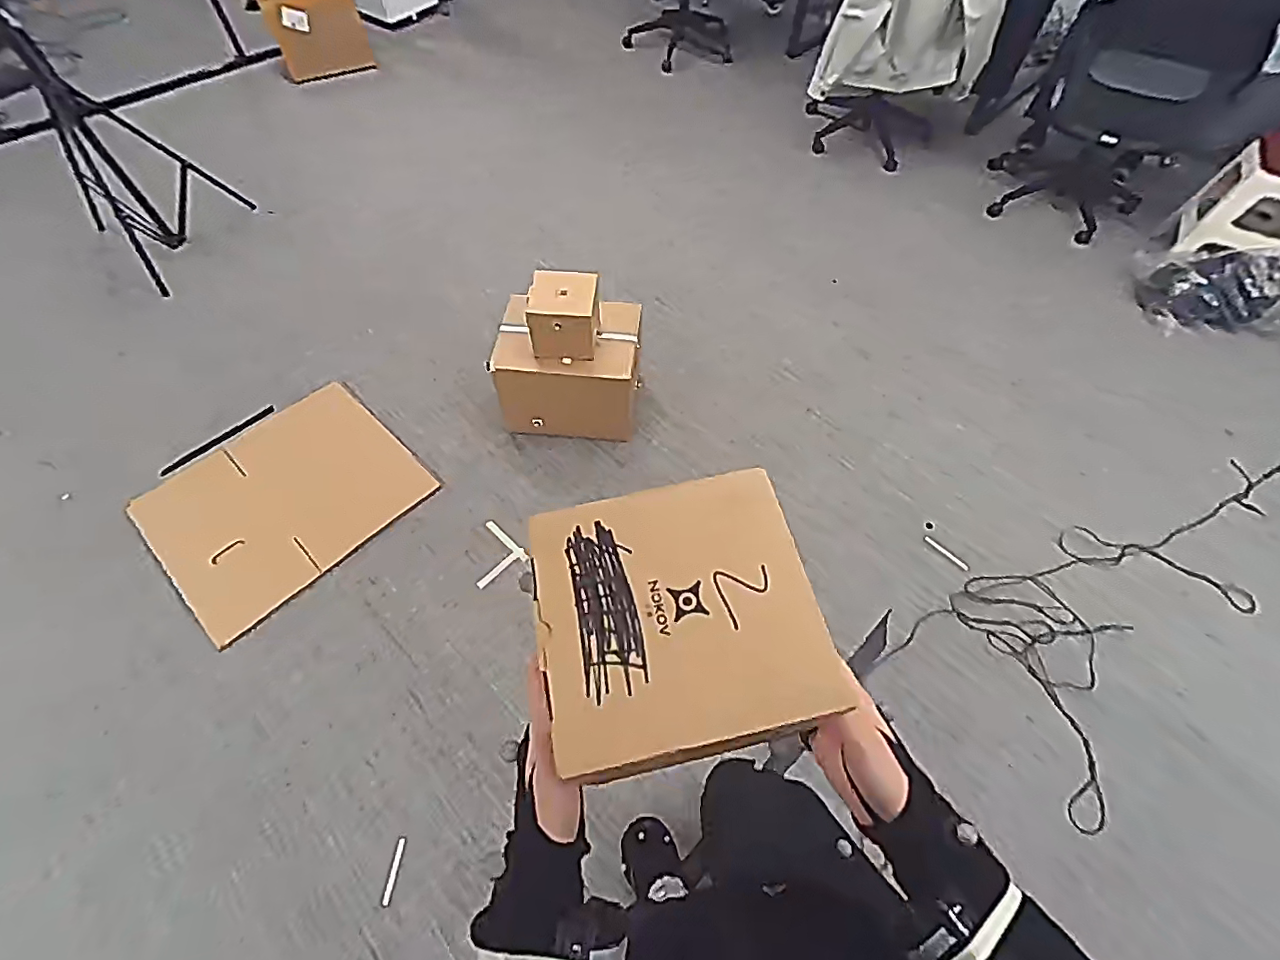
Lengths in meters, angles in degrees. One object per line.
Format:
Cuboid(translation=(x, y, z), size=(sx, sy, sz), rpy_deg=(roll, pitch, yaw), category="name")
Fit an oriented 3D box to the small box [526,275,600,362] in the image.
Cuboid(translation=(-0.208, -0.446, 1.507), size=(0.179, 0.176, 0.168), rpy_deg=(3, 60, 0), category="small box")
